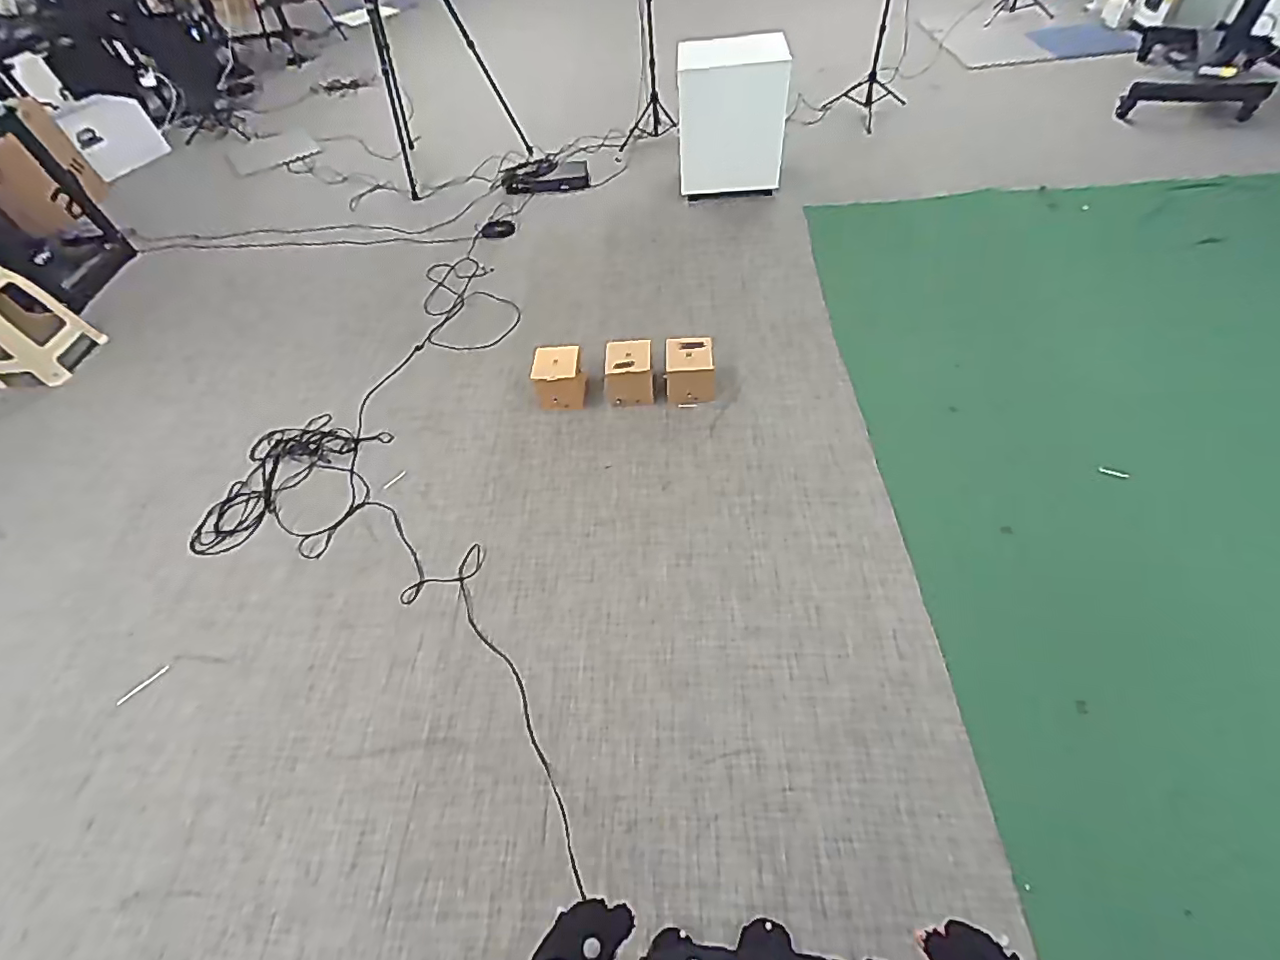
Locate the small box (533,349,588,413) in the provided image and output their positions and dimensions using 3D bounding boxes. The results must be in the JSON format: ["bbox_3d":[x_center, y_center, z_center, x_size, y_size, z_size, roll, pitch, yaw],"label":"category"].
[{"bbox_3d":[-0.297,-0.377,2.066,0.168,0.176,0.179,-3,53,5],"label":"small box"}]

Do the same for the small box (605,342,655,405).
[{"bbox_3d":[-0.033,-0.395,2.045,0.168,0.176,0.179,-3,52,5],"label":"small box"}]
